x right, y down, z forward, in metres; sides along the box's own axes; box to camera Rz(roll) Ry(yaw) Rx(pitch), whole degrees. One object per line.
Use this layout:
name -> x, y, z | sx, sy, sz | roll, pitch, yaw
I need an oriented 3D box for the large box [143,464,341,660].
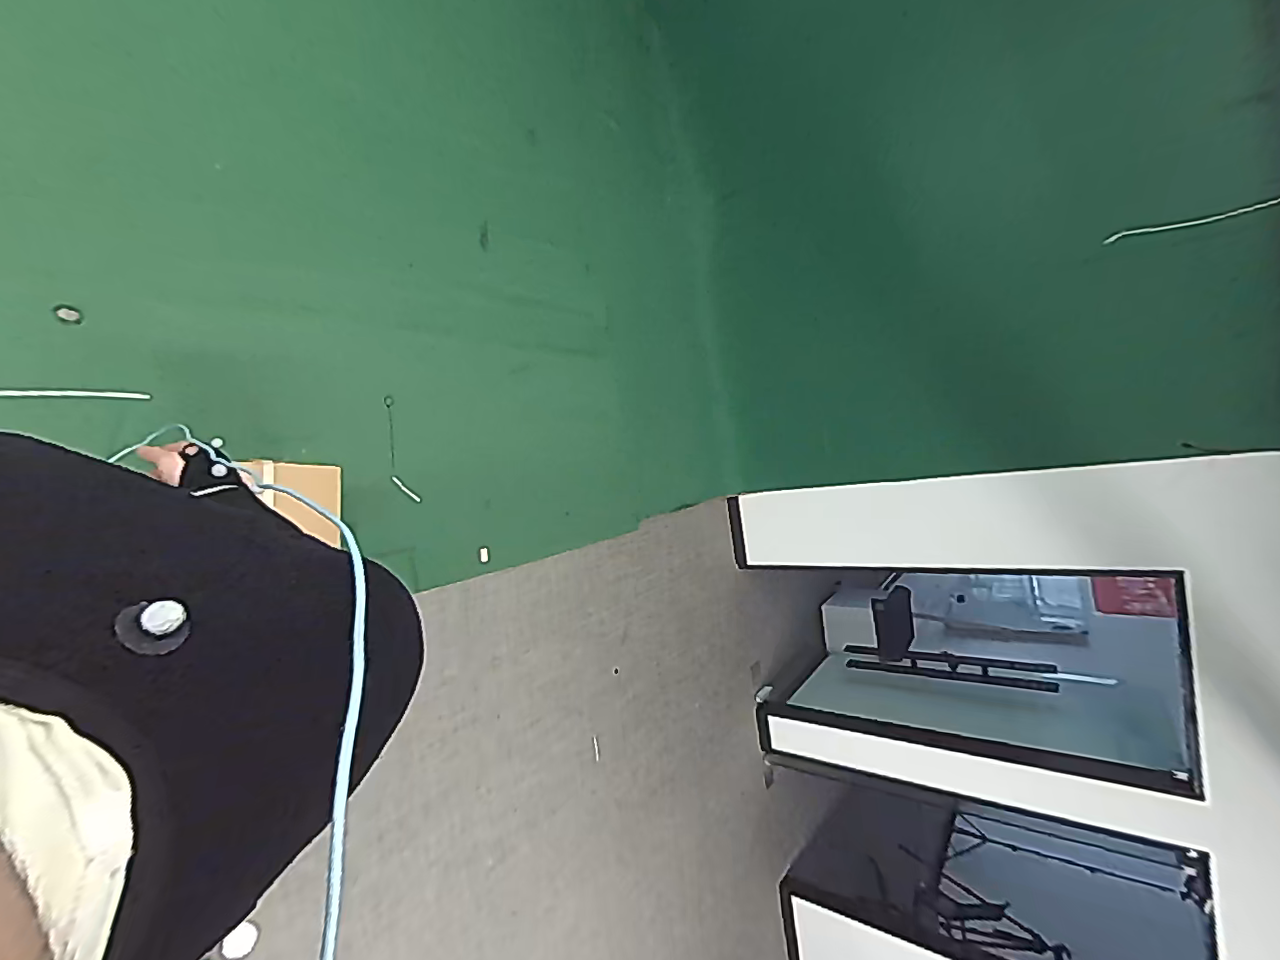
large box -> -0.950, 0.177, 1.295 | 0.320, 0.320, 0.408 | 2, 84, -51
